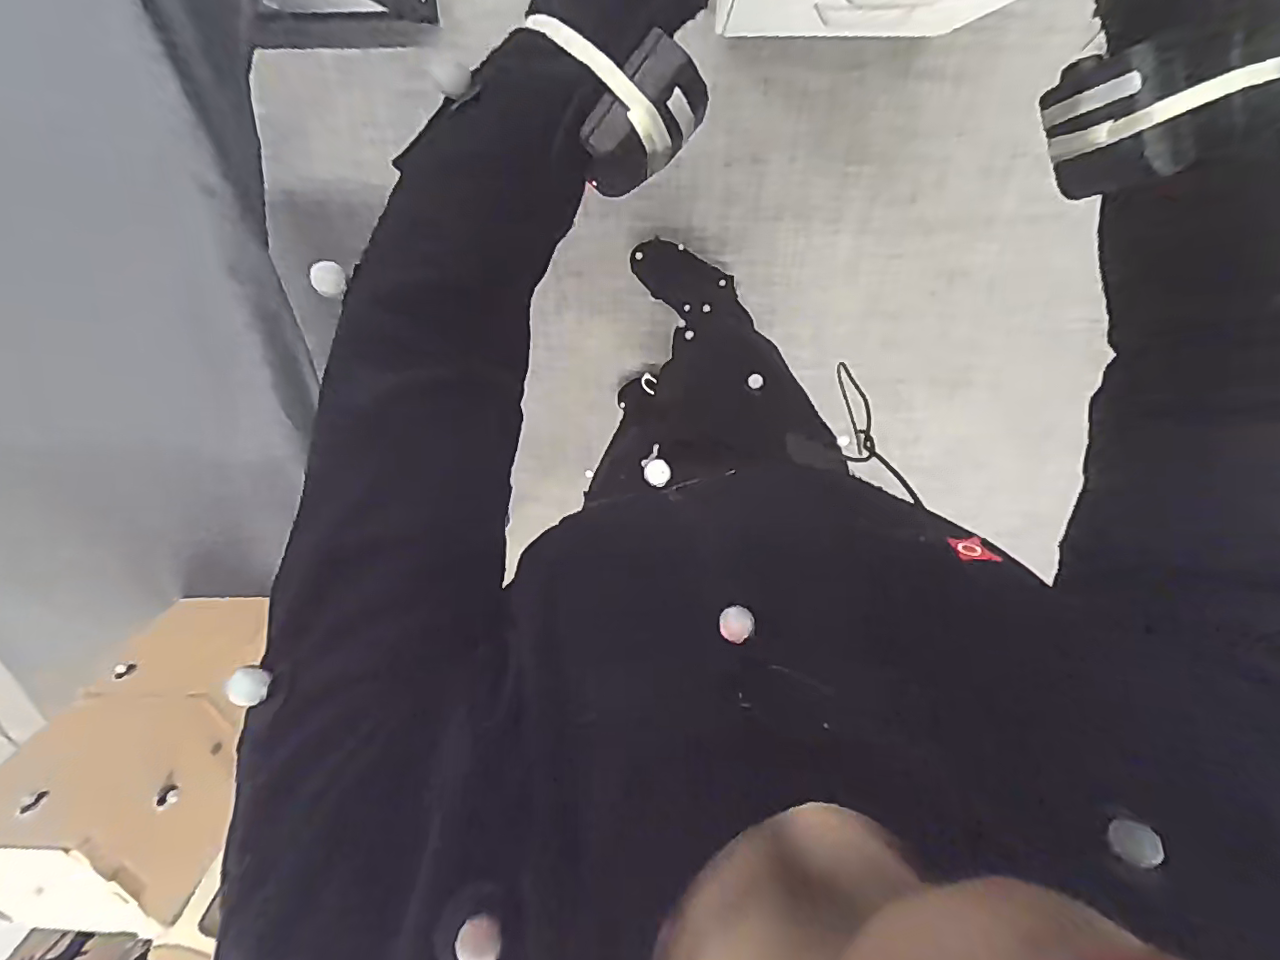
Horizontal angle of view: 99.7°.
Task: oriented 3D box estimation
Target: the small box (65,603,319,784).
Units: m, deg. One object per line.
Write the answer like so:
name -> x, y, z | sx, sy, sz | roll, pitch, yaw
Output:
small box -> -0.571, 0.280, 0.726 | 0.179, 0.176, 0.168 | -2, 120, 6

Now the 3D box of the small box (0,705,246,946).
small box -> -0.578, 0.364, 0.587 | 0.179, 0.176, 0.168 | -2, 119, 7
